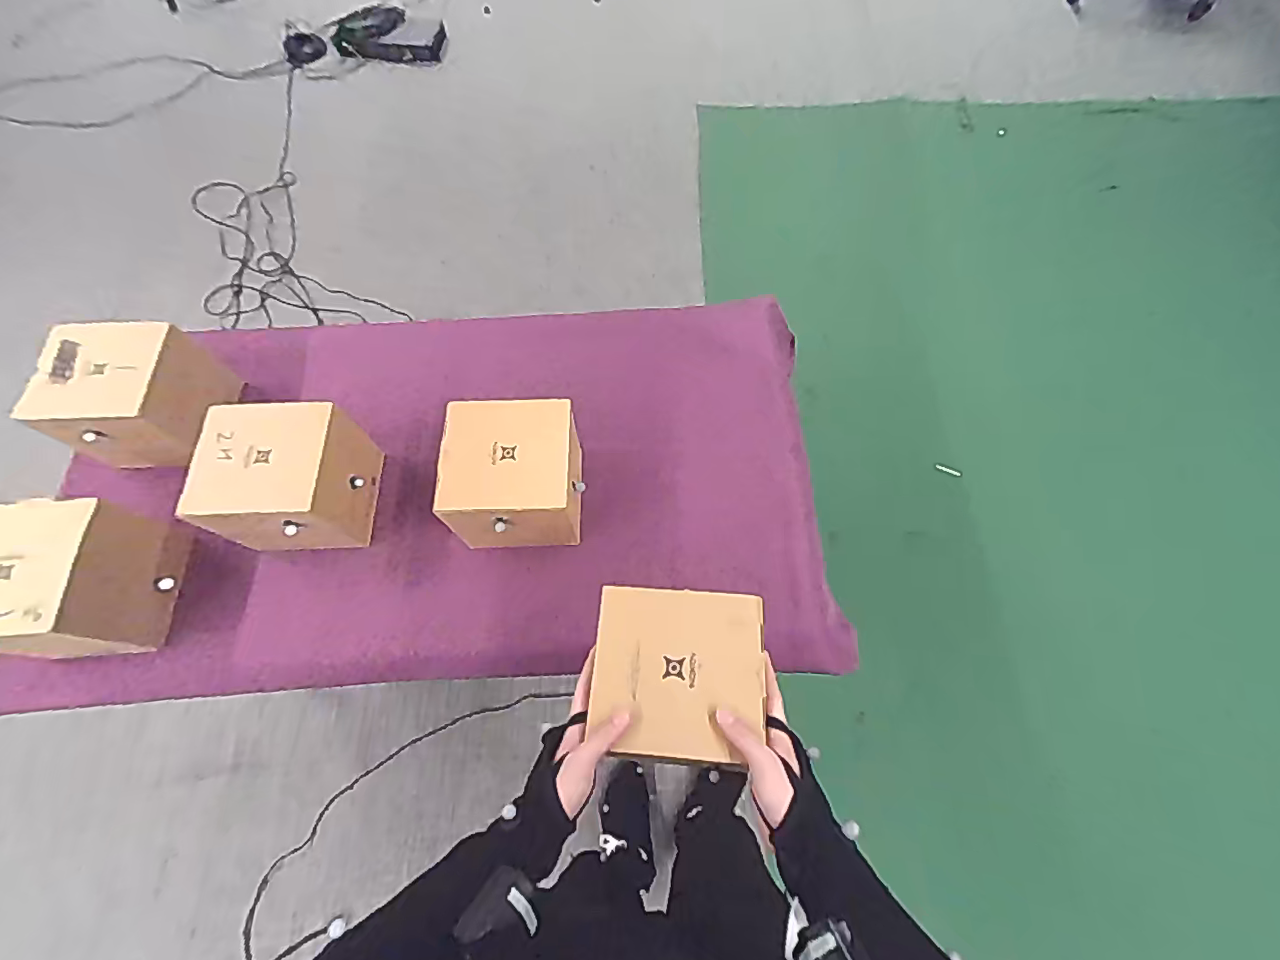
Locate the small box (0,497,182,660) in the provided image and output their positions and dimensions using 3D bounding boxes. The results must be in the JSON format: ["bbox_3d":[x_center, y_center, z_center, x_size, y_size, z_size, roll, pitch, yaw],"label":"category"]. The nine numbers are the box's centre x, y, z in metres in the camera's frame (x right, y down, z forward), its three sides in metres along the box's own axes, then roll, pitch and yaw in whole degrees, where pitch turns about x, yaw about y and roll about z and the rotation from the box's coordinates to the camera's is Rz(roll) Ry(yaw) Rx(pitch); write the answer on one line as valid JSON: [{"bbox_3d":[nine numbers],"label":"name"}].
[{"bbox_3d":[-0.778,0.138,0.730,0.168,0.176,0.179,-4,66,-1],"label":"small box"}]

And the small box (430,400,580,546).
[{"bbox_3d":[-0.182,-0.004,0.793,0.179,0.176,0.168,-2,68,1],"label":"small box"}]

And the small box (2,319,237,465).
[{"bbox_3d":[-0.788,-0.130,0.843,0.179,0.176,0.168,-2,68,-2],"label":"small box"}]

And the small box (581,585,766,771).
[{"bbox_3d":[0.042,0.230,0.614,0.179,0.176,0.168,3,60,6],"label":"small box"}]

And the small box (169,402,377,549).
[{"bbox_3d":[-0.513,0.000,0.789,0.179,0.176,0.168,-1,67,-1],"label":"small box"}]
